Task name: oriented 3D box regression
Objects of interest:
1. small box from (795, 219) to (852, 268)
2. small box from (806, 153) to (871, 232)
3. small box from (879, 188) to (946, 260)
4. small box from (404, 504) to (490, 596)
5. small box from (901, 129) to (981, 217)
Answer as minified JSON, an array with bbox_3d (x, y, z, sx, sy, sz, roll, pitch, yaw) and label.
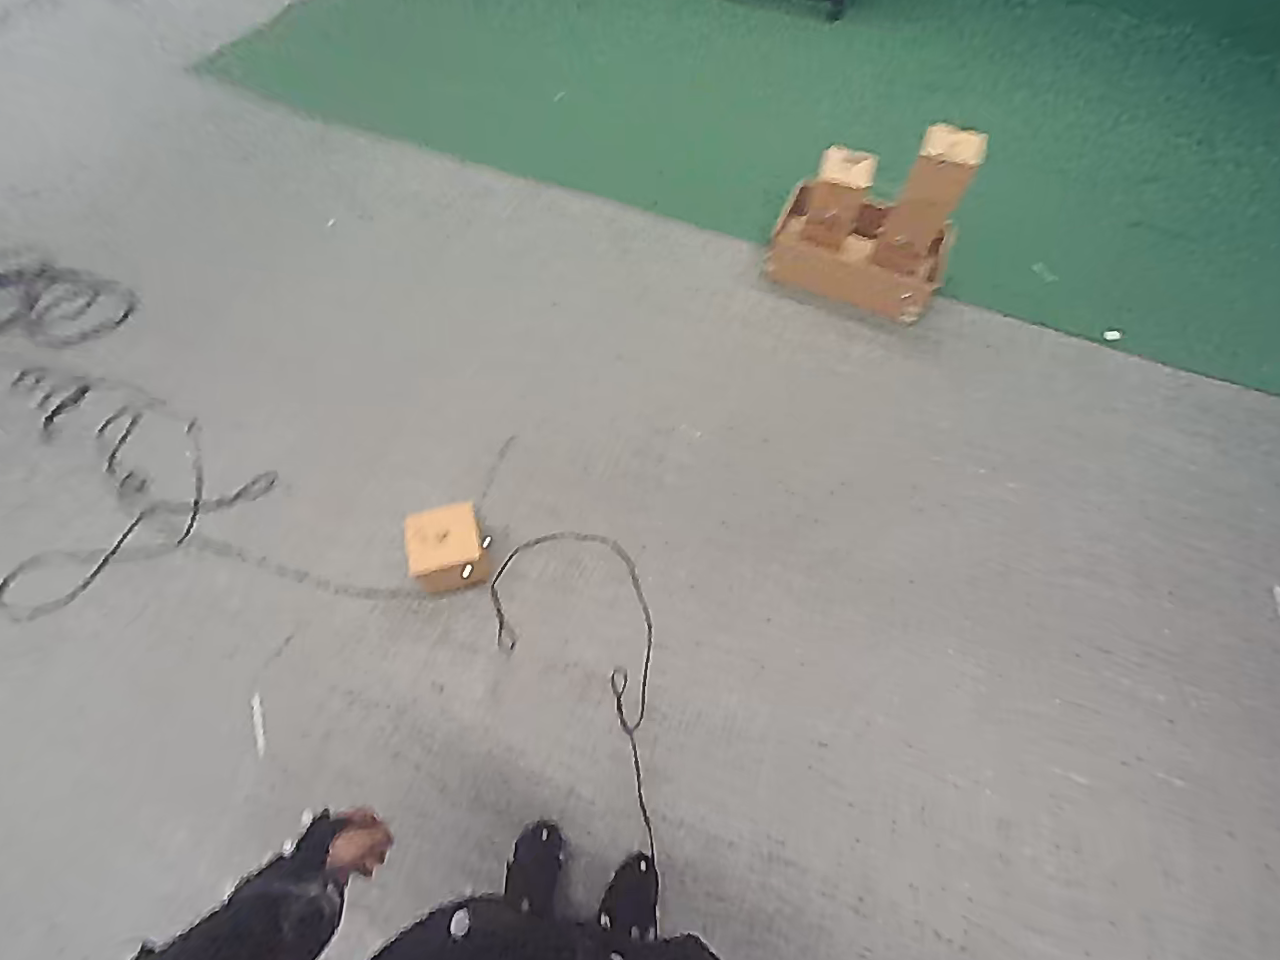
[{"bbox_3d":[0.717,-0.965,2.104,0.168,0.176,0.179,19,62,6],"label":"small box"},{"bbox_3d":[0.714,-1.037,1.955,0.168,0.176,0.179,17,63,5],"label":"small box"},{"bbox_3d":[0.968,-0.916,1.902,0.168,0.176,0.179,23,64,11],"label":"small box"},{"bbox_3d":[-0.506,0.189,1.439,0.179,0.176,0.168,-14,61,-10],"label":"small box"},{"bbox_3d":[0.973,-0.995,1.757,0.168,0.176,0.179,20,61,10],"label":"small box"}]
